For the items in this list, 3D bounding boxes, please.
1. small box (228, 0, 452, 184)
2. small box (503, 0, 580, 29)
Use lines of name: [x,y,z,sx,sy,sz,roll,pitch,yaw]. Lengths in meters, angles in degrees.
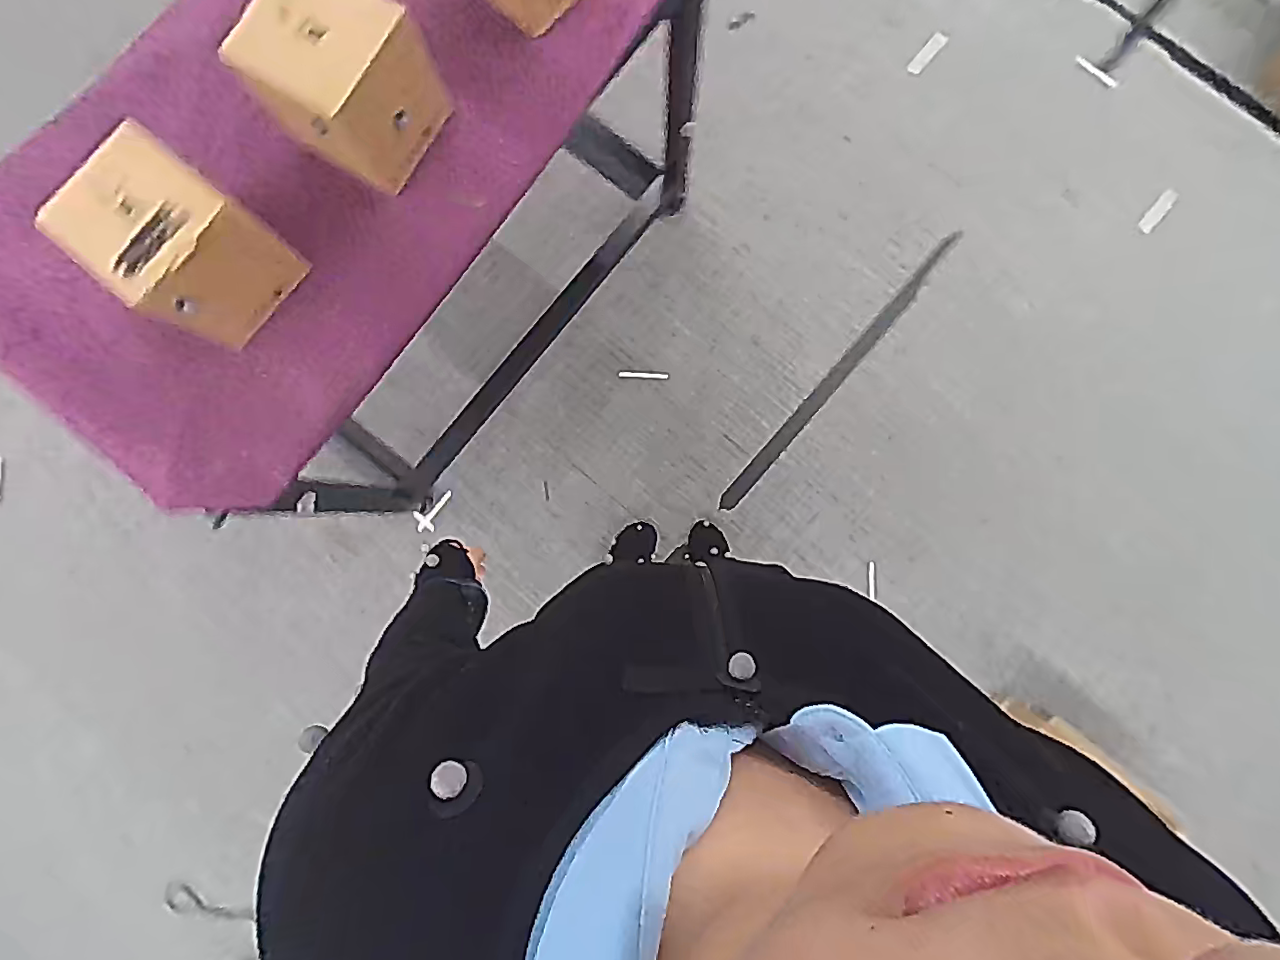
small box: [-0.393,-0.549,0.745,0.179,0.176,0.168,31,87,3]
small box: [-0.159,-0.803,0.759,0.179,0.176,0.168,44,88,5]
